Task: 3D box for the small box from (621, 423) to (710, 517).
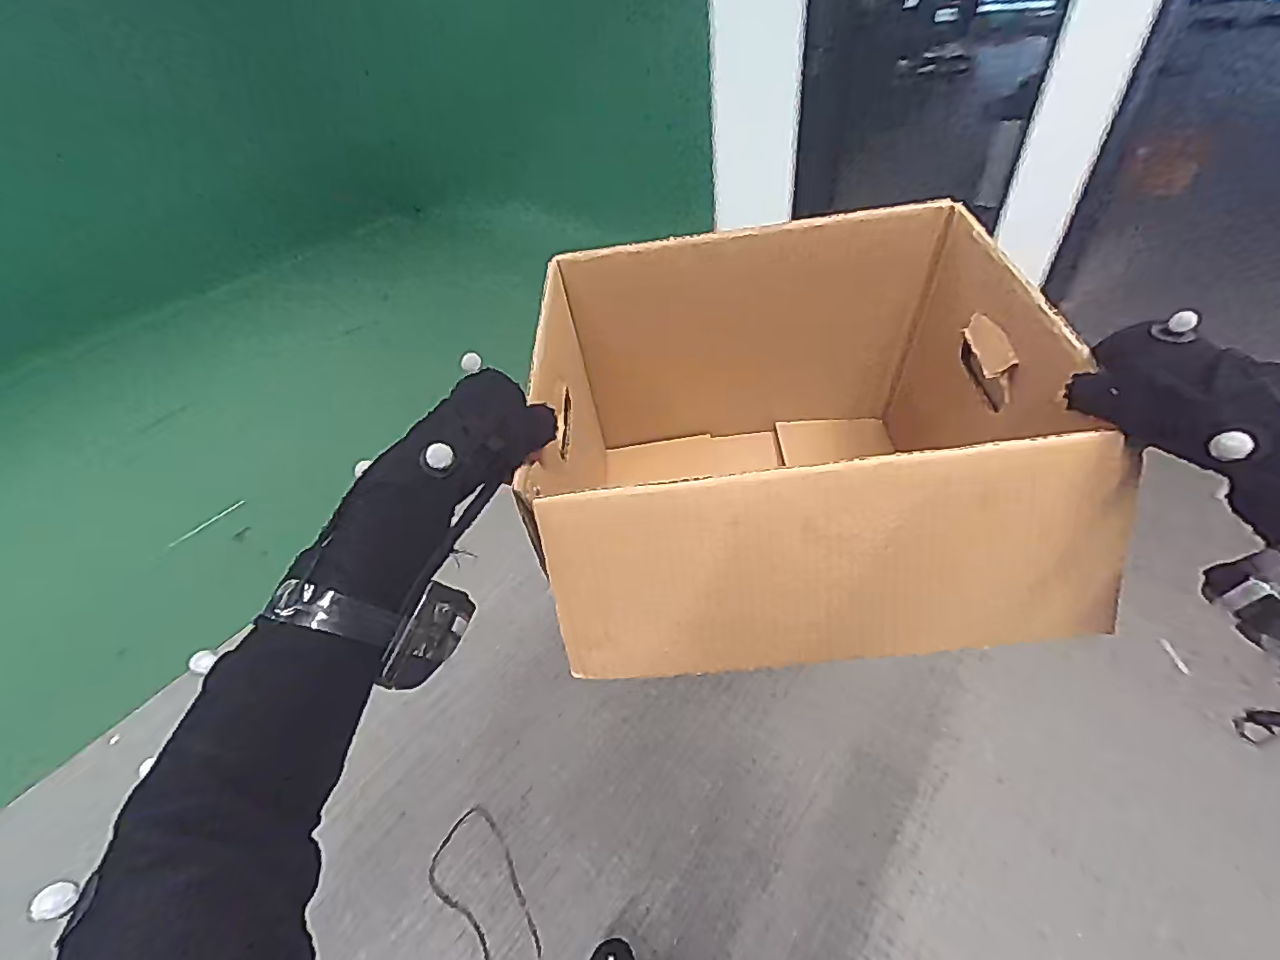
[{"bbox_3d":[0.076,-0.025,1.506,0.179,0.176,0.168,27,57,34],"label":"small box"}]
